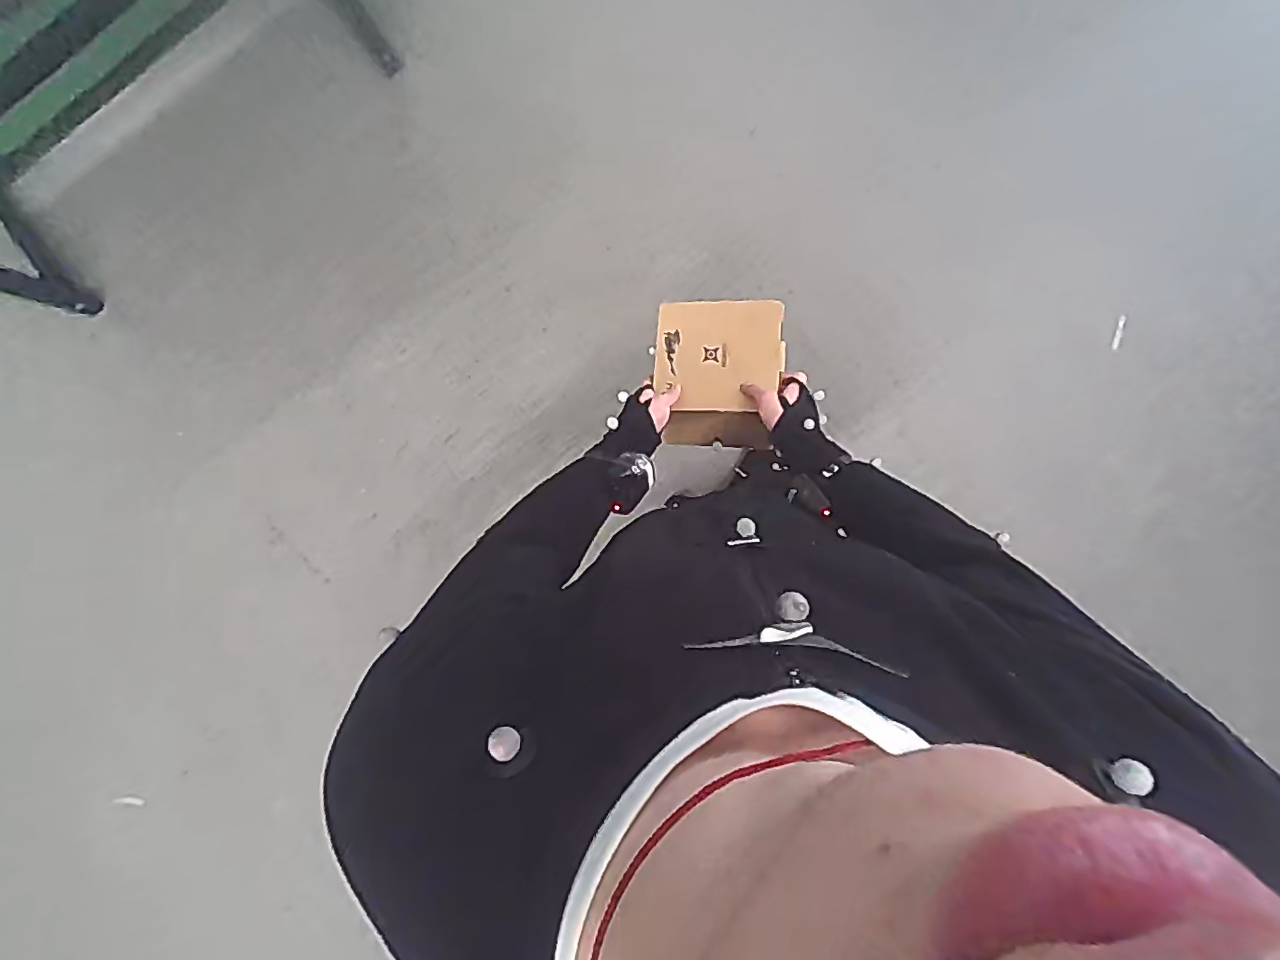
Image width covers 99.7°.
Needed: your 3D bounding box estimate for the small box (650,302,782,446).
[{"bbox_3d":[0.117,-0.154,0.827,0.179,0.176,0.168,2,77,10],"label":"small box"}]
